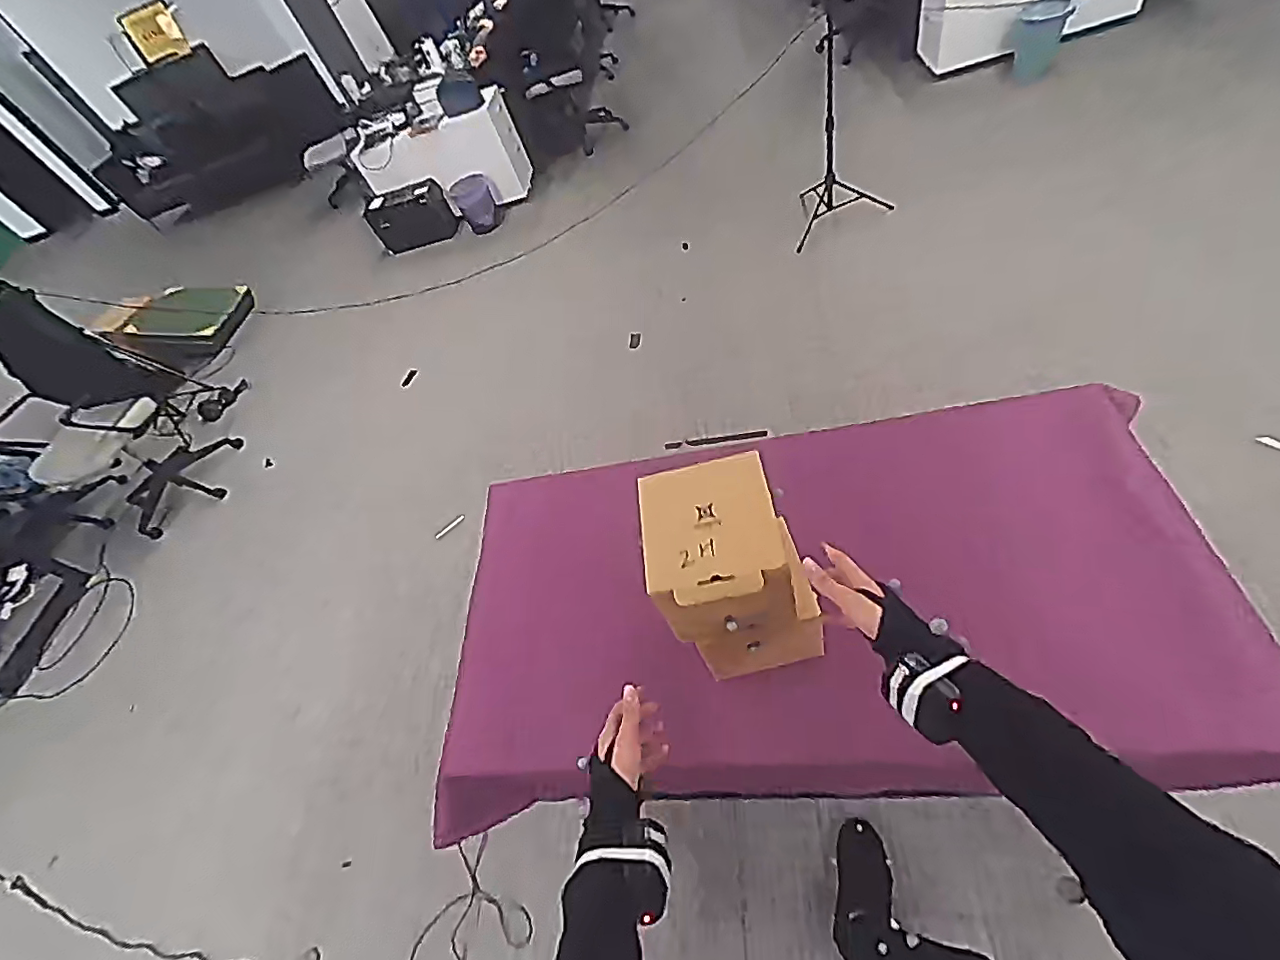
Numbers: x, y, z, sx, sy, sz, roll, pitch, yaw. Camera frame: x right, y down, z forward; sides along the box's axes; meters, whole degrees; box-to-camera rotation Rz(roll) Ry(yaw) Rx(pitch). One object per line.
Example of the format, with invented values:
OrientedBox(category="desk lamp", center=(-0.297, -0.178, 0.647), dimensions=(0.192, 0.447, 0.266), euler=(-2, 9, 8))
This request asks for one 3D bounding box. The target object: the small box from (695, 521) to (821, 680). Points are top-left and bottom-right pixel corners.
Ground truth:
OrientedBox(category="small box", center=(0.171, 0.194, 0.844), dimensions=(0.179, 0.176, 0.168), euler=(-17, 51, 7))

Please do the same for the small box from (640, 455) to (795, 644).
OrientedBox(category="small box", center=(0.104, 0.098, 0.725), dimensions=(0.168, 0.176, 0.179), euler=(-13, 51, 11))
